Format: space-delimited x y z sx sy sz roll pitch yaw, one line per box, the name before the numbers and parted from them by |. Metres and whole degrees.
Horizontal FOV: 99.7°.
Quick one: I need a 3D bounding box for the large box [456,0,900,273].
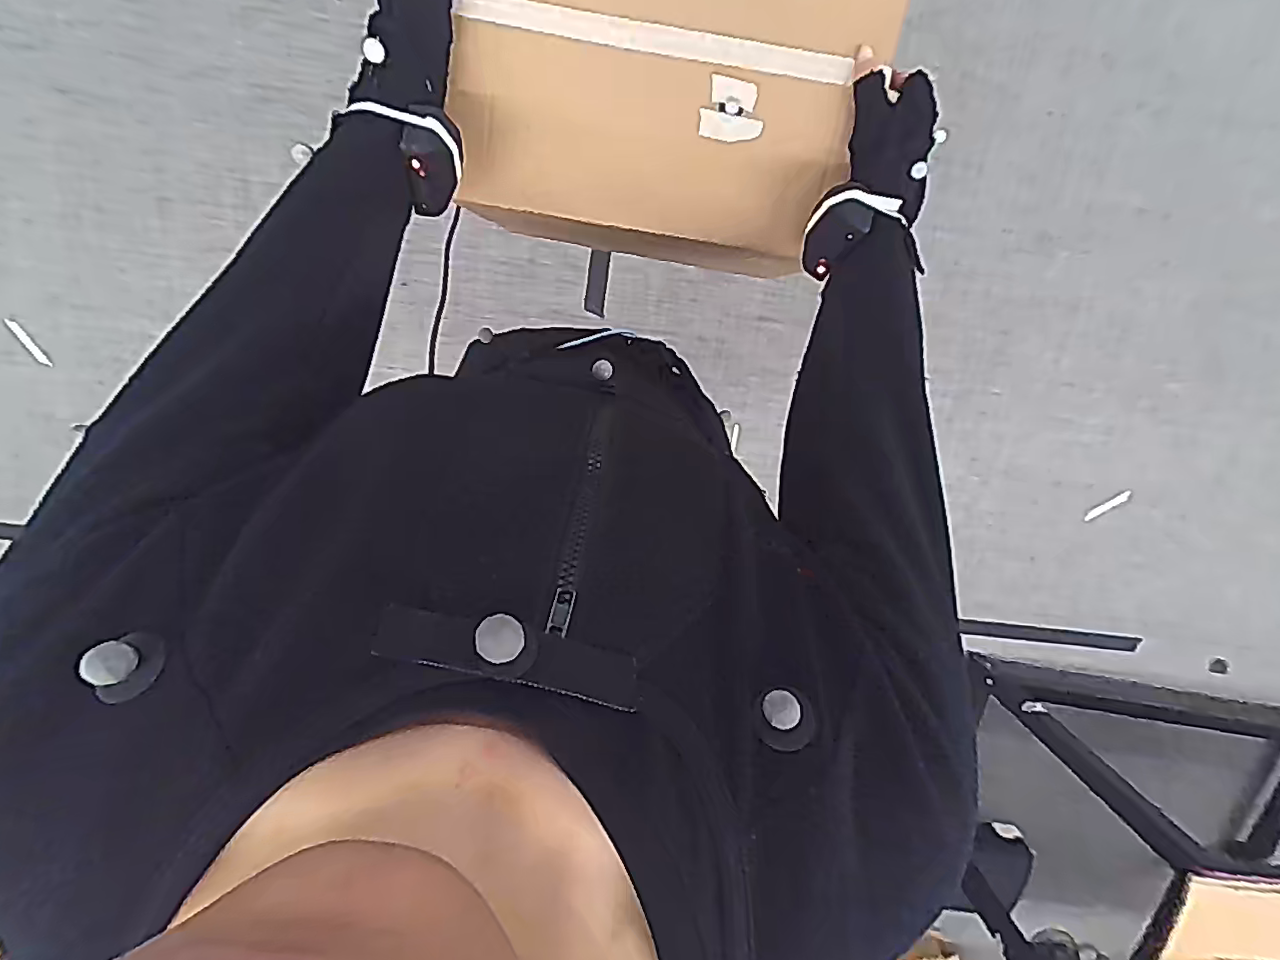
large box | 0.028 -0.443 0.645 0.408 0.320 0.320 8 109 -3
